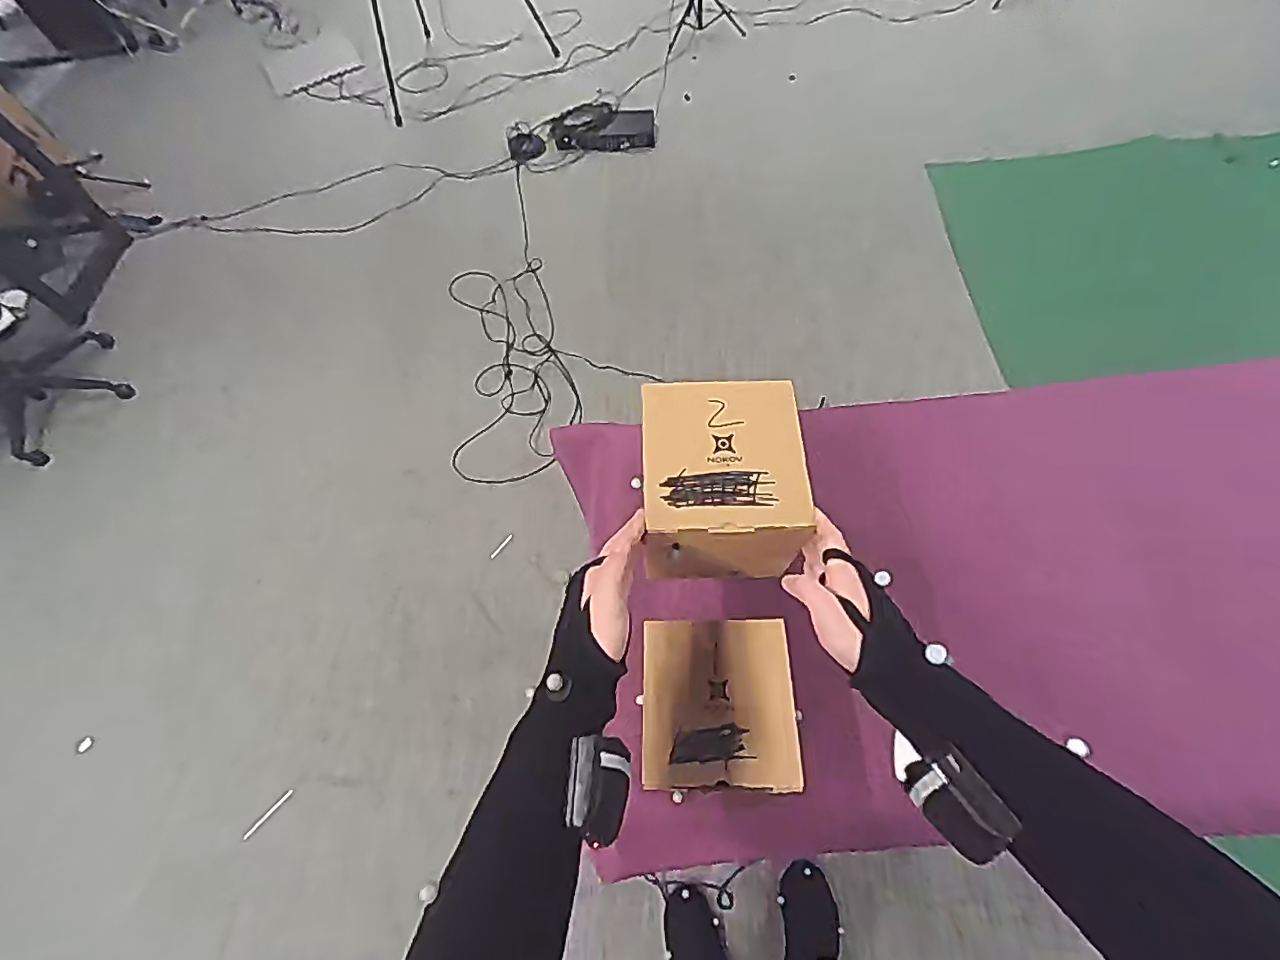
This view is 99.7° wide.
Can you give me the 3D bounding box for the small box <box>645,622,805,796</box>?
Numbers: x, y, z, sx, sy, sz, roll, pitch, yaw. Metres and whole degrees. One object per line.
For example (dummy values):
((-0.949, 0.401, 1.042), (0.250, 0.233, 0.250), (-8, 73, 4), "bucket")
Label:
((0.097, 0.282, 0.661), (0.168, 0.176, 0.179), (-2, 60, 5), "small box")
